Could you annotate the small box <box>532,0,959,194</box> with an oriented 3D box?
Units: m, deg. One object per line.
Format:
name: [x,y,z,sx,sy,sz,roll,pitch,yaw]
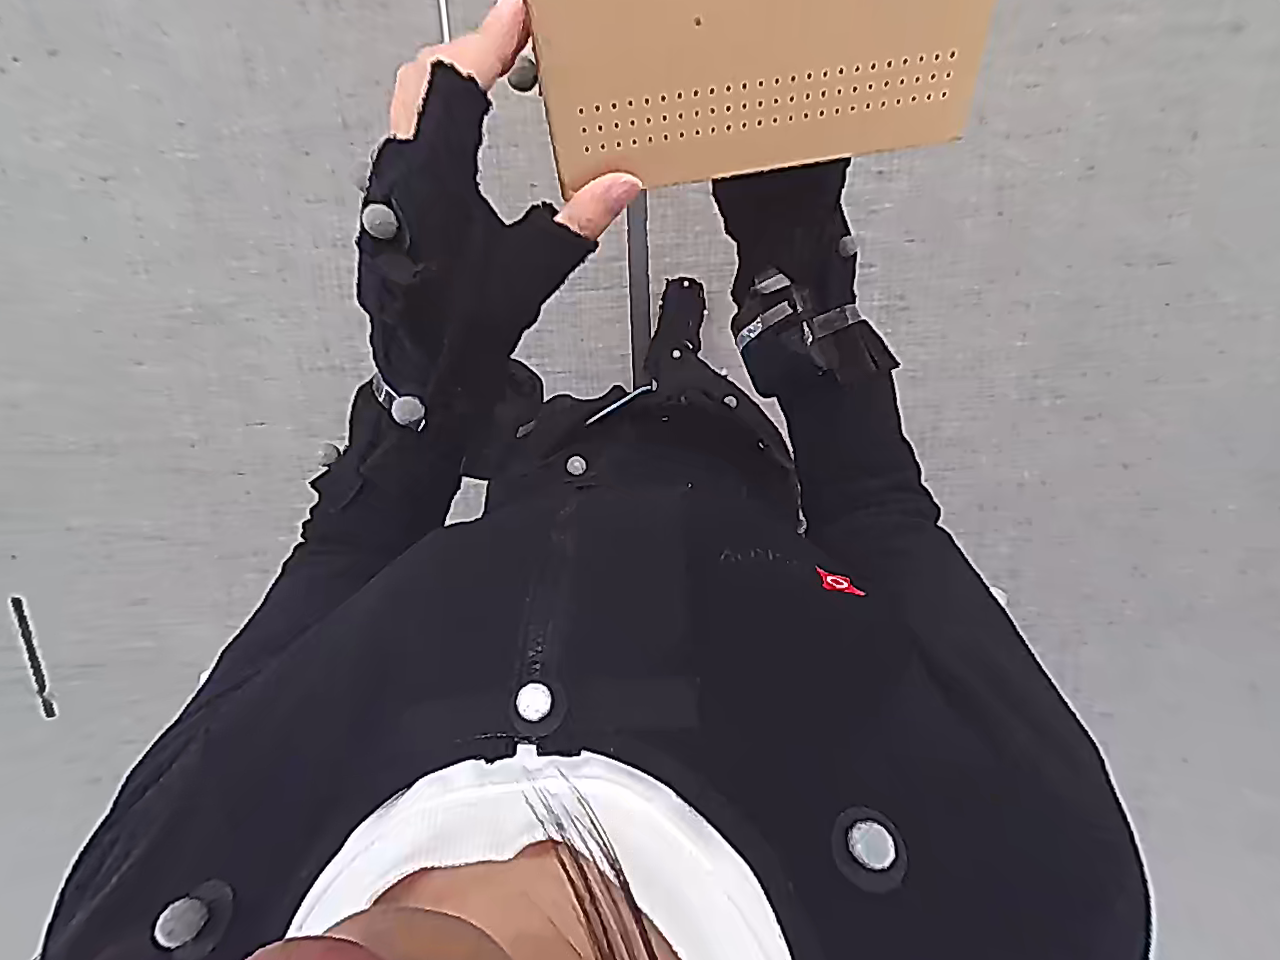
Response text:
small box: [0.036,-0.252,0.251,0.179,0.168,0.176,-10,130,-1]
